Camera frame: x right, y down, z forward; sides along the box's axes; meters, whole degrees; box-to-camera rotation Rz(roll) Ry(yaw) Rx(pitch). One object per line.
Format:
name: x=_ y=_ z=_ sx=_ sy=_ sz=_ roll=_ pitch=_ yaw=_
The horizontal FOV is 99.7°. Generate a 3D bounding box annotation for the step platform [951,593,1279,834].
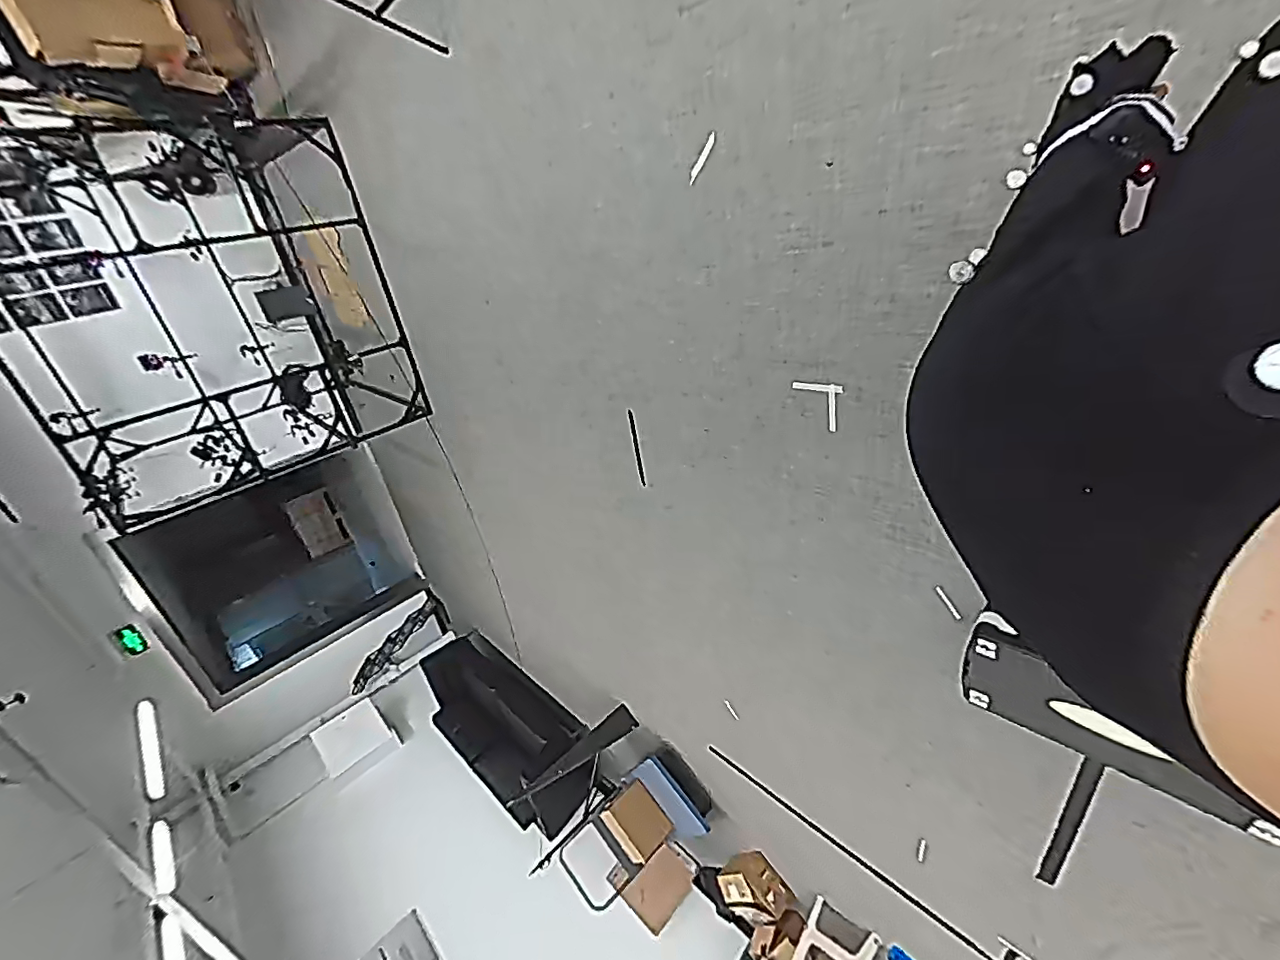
step platform: x=1.190 y=0.557 z=1.385 sx=0.684 sy=0.204 sz=0.286 roll=19 pitch=129 yaw=45
